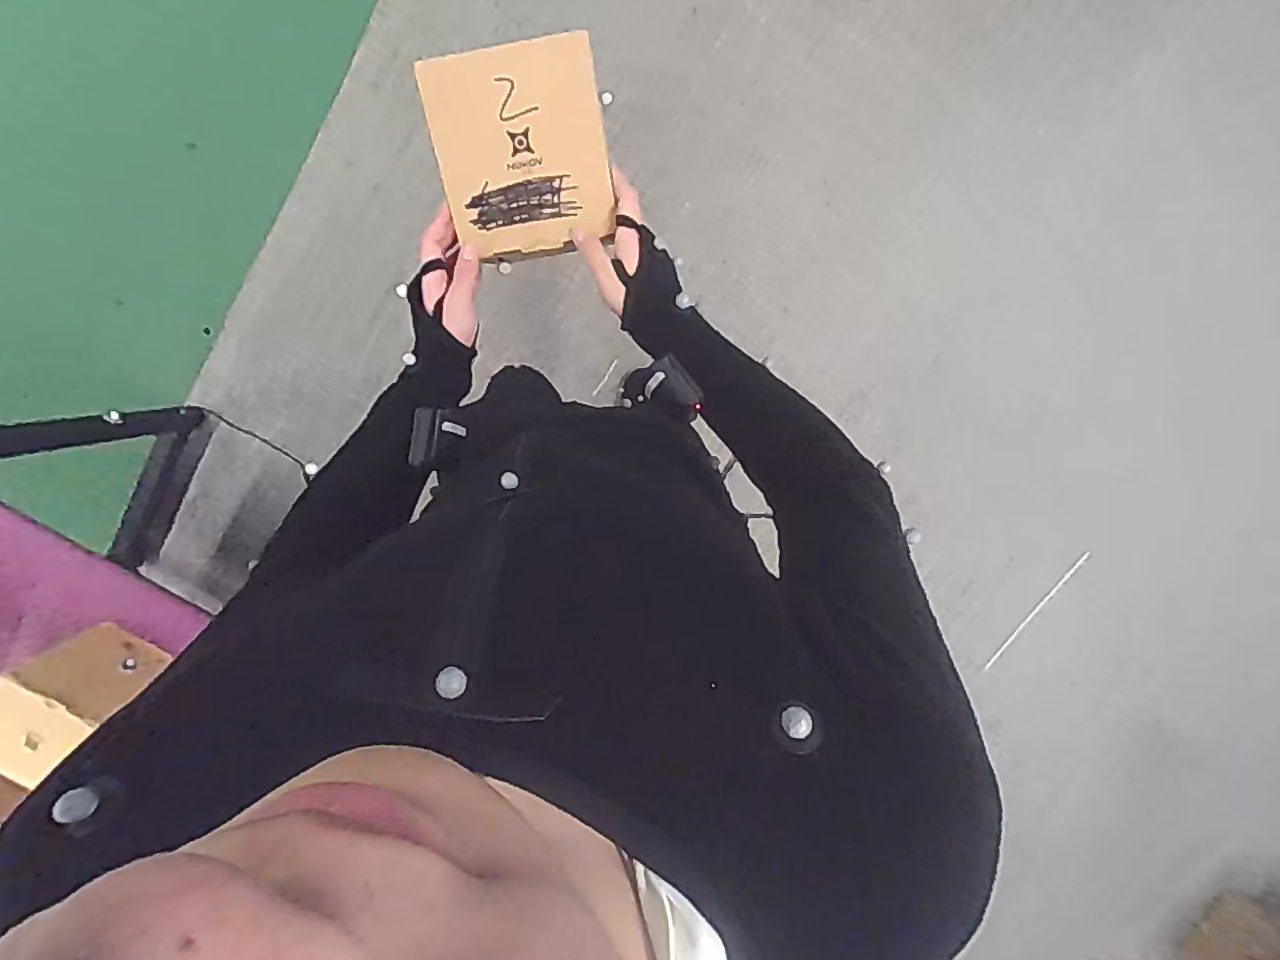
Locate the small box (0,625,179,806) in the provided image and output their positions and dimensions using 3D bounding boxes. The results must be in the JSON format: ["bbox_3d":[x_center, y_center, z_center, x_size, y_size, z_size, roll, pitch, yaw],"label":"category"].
[{"bbox_3d":[-0.931,0.381,0.899,0.168,0.176,0.179,34,101,-6],"label":"small box"}]
